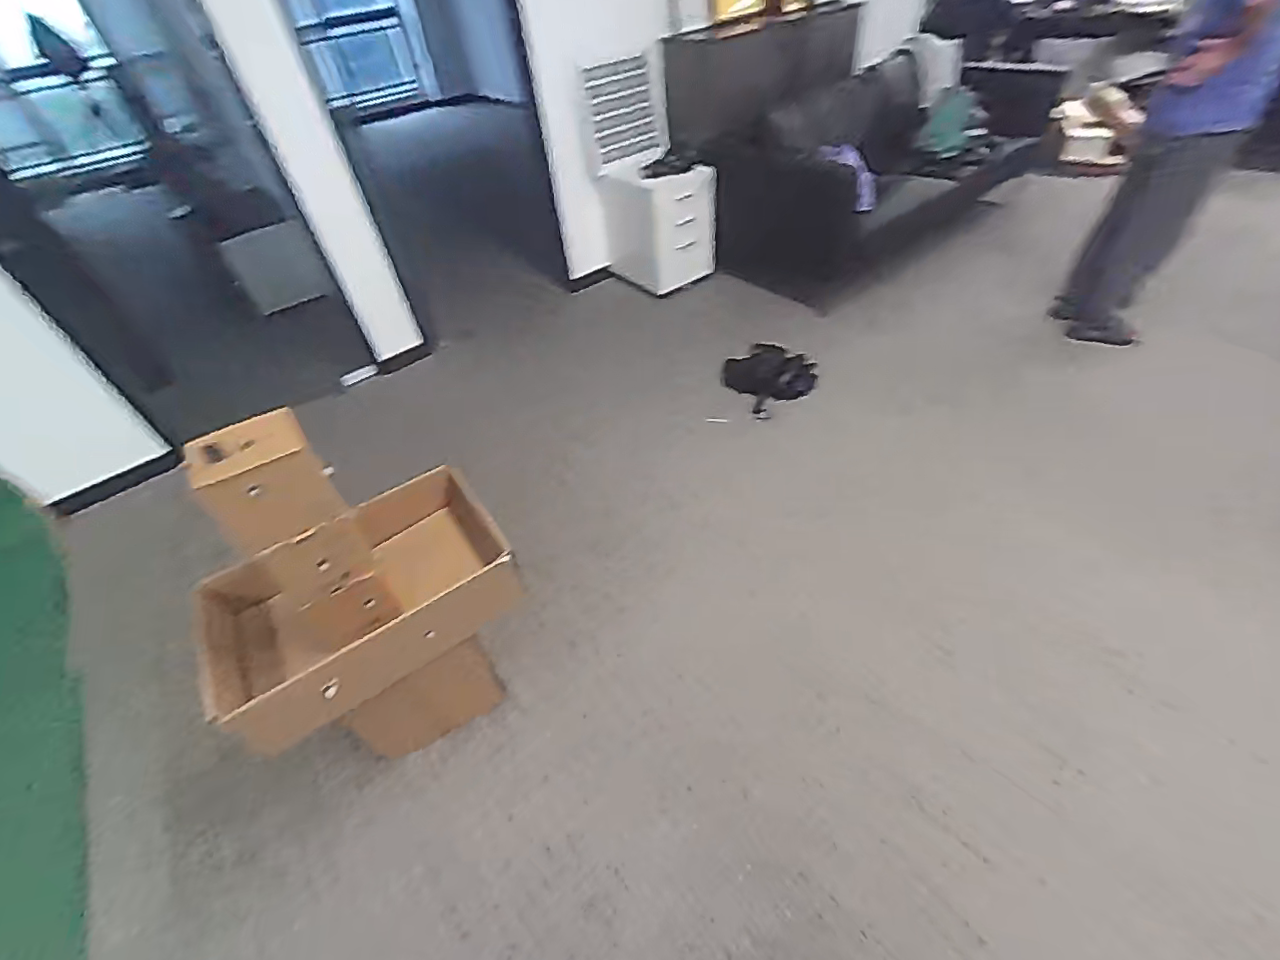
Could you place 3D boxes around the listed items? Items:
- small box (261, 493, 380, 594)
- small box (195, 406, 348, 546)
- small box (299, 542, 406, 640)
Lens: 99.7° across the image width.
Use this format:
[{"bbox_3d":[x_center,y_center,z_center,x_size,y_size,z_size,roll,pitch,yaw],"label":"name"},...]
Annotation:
[{"bbox_3d":[-0.678,0.115,1.136,0.168,0.176,0.179,-30,49,-25],"label":"small box"},{"bbox_3d":[-0.692,-0.006,1.024,0.179,0.176,0.168,-28,48,-24],"label":"small box"},{"bbox_3d":[-0.665,0.239,1.242,0.168,0.176,0.179,-28,46,-24],"label":"small box"}]
